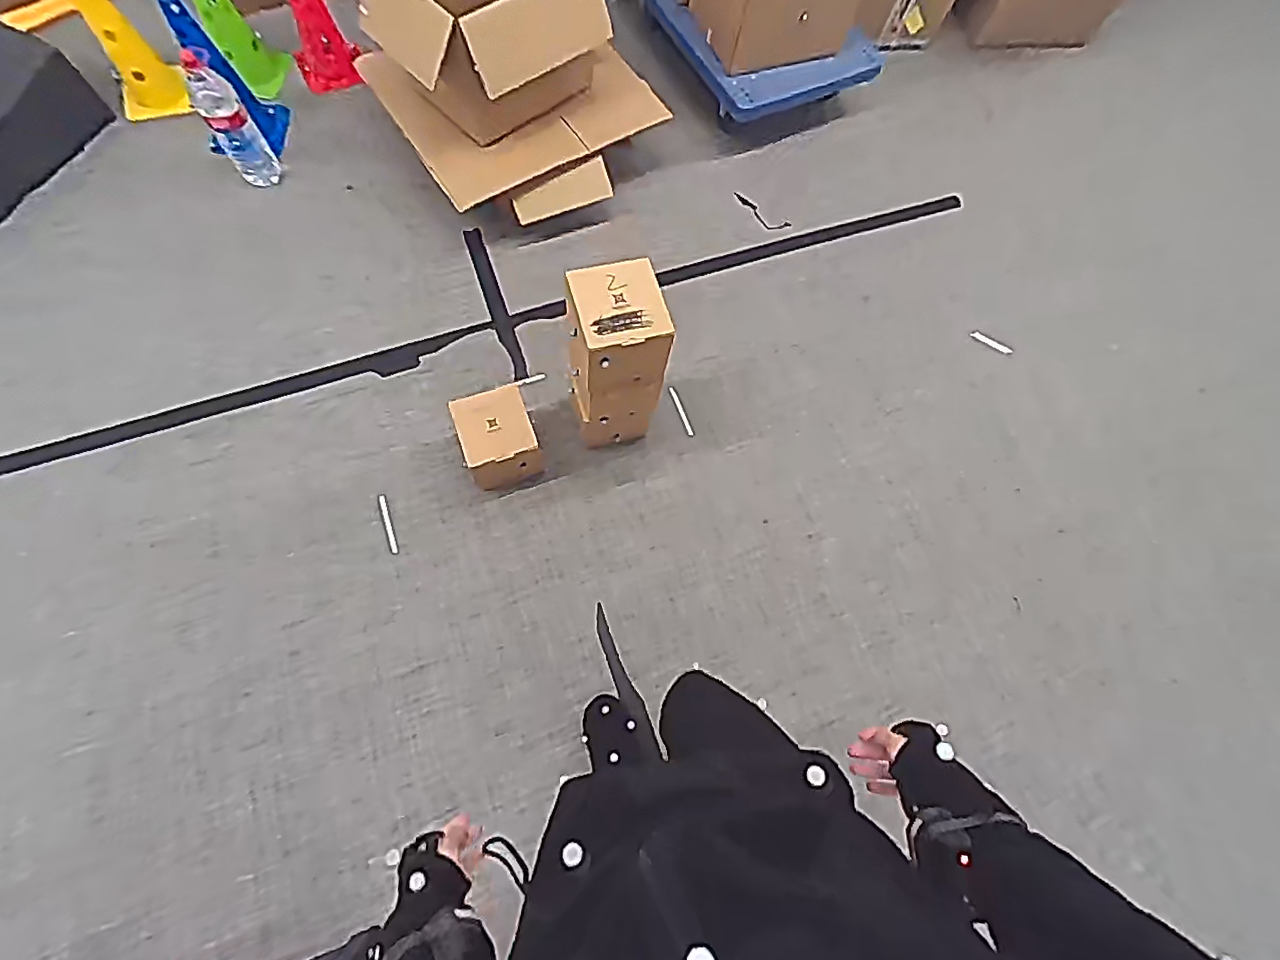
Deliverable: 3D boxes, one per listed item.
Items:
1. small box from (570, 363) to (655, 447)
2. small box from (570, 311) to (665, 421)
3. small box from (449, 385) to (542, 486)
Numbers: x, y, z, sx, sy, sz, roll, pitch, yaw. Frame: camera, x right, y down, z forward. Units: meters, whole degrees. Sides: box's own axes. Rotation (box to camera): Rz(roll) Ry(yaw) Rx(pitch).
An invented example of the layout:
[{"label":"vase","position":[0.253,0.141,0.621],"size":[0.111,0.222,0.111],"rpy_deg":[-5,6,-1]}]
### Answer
[{"label":"small box","position":[-0.077,-0.201,1.378],"size":[0.179,0.176,0.168],"rpy_deg":[-14,74,-12]},{"label":"small box","position":[-0.055,-0.248,1.221],"size":[0.168,0.176,0.179],"rpy_deg":[-15,73,-11]},{"label":"small box","position":[-0.343,-0.099,1.314],"size":[0.168,0.176,0.179],"rpy_deg":[-19,74,-13]}]
